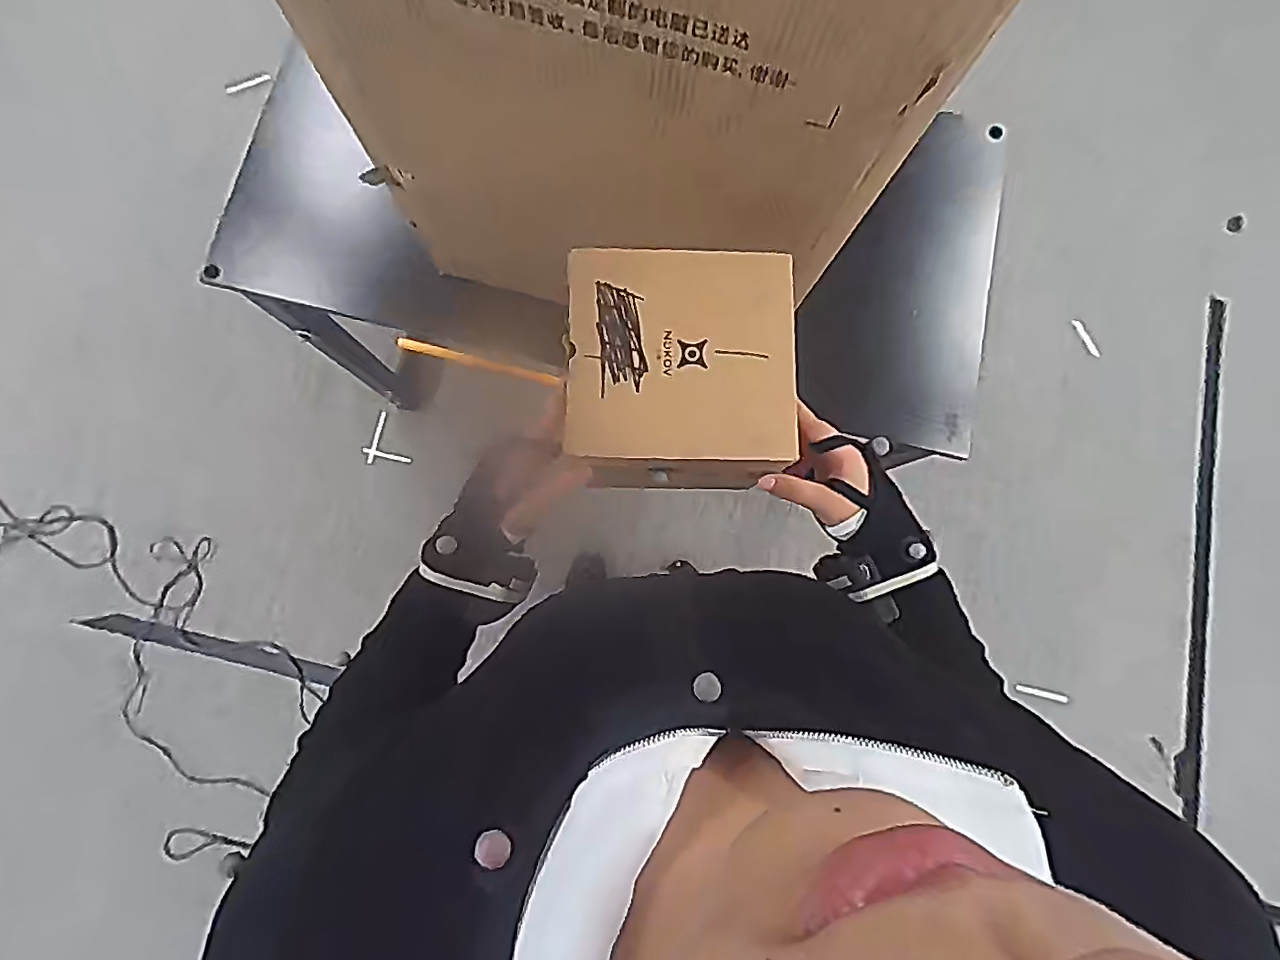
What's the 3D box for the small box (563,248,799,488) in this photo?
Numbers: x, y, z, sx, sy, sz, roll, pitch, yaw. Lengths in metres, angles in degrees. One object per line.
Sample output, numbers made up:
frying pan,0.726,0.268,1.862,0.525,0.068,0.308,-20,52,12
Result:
small box,0.030,-0.084,0.485,0.179,0.176,0.168,1,82,-2
